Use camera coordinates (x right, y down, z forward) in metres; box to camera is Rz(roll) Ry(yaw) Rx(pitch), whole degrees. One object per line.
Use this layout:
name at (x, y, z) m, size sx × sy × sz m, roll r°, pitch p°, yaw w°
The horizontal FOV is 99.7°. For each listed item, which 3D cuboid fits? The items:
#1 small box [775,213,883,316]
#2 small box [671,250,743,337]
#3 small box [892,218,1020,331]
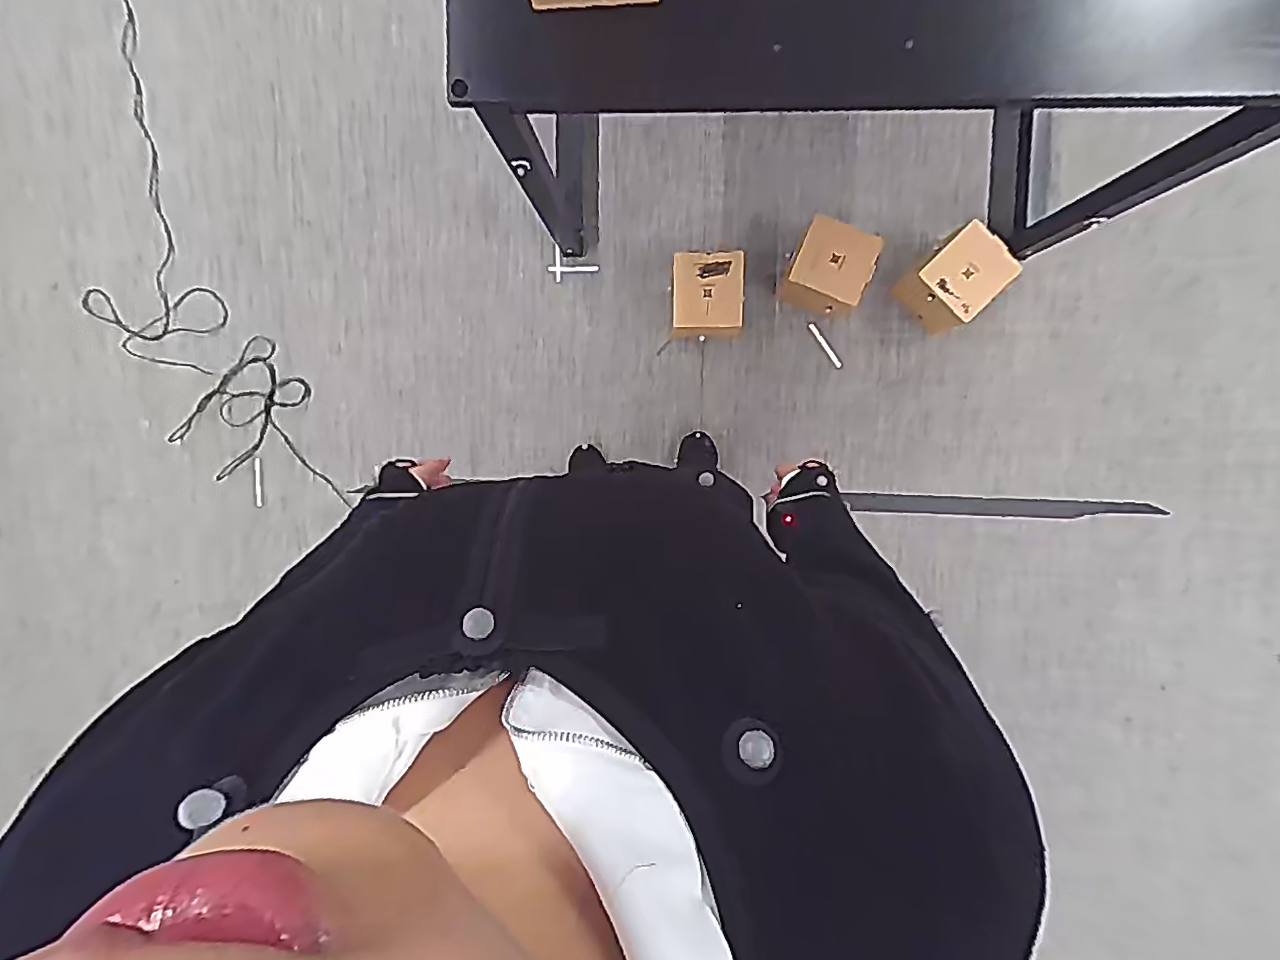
small box at (0.458, -0.521, 1.337) m, size 0.179 × 0.176 × 0.168 m, roll 22°, pitch 96°, yaw 1°
small box at (0.163, -0.462, 1.357) m, size 0.168 × 0.176 × 0.179 m, roll 0°, pitch 97°, yaw 3°
small box at (0.759, -0.491, 1.321) m, size 0.168 × 0.176 × 0.179 m, roll 45°, pitch 97°, yaw -2°
